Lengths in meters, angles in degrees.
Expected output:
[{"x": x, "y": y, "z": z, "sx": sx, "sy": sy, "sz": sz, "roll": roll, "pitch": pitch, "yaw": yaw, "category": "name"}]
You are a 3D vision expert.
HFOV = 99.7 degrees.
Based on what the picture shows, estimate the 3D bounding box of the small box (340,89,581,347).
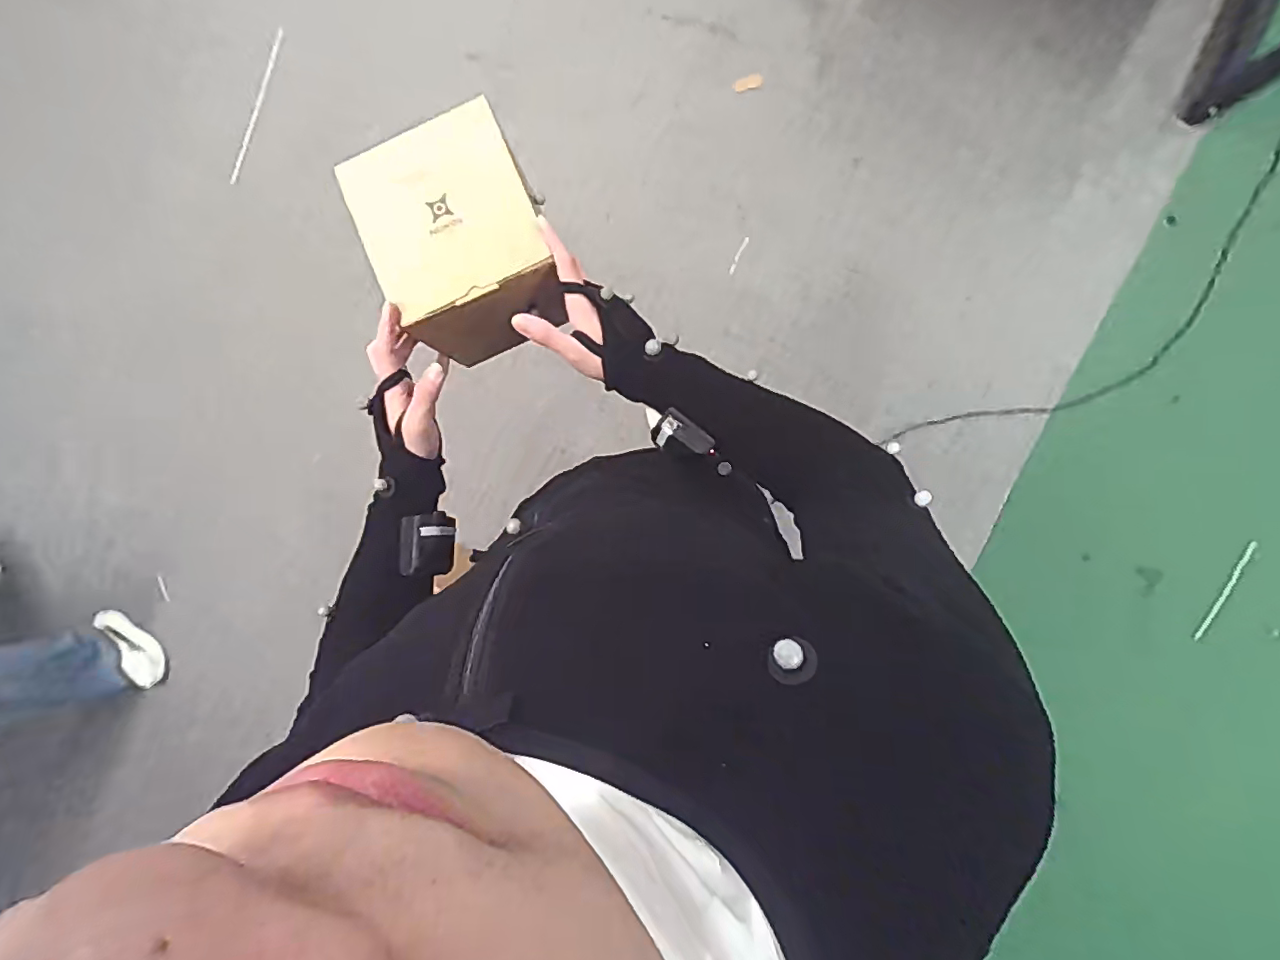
[{"x": -0.178, "y": -0.261, "z": 0.592, "sx": 0.168, "sy": 0.176, "sz": 0.179, "roll": -22, "pitch": 88, "yaw": 3, "category": "small box"}]
